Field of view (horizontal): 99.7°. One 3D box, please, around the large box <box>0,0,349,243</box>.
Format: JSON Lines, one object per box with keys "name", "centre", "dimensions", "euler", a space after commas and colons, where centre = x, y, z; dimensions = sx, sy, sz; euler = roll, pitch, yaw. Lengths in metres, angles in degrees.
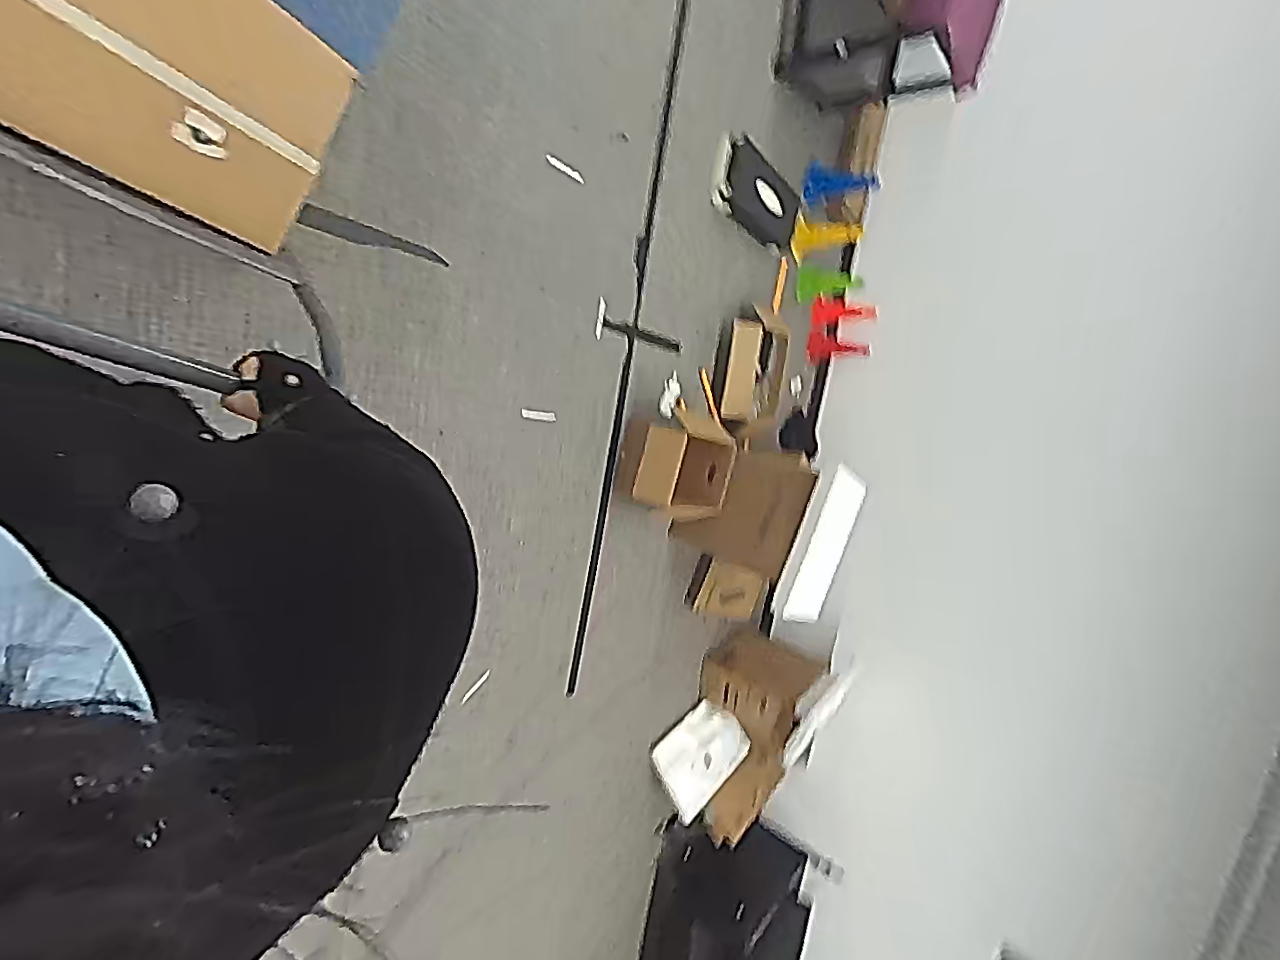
{"name": "large box", "centre": [-0.732, -0.625, 0.781], "dimensions": [0.320, 0.320, 0.408], "euler": [-55, 145, 10]}
